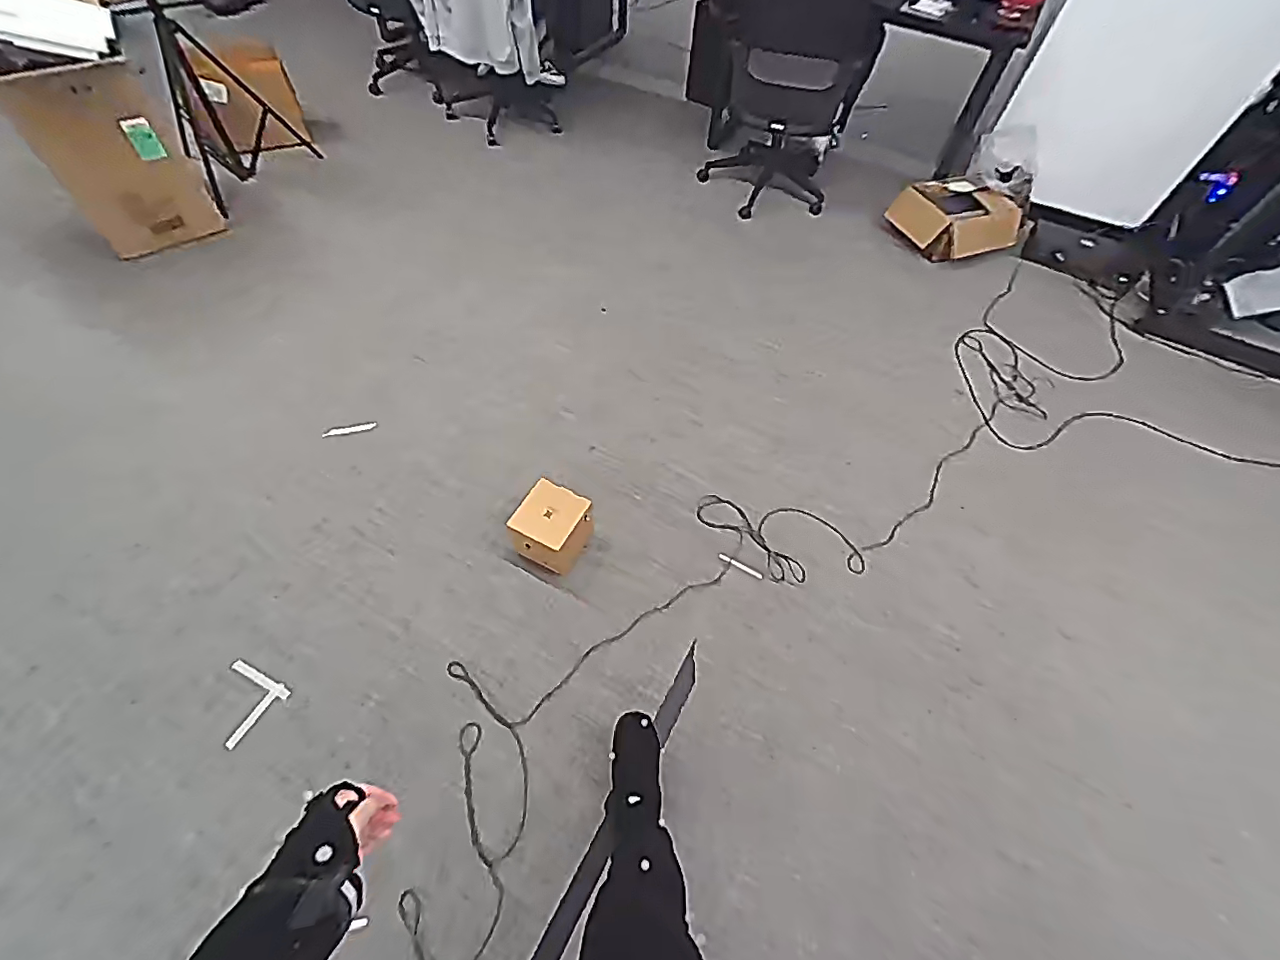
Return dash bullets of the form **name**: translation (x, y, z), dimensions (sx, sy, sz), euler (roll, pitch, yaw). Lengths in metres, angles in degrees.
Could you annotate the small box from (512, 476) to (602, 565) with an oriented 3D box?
- **small box**: translation (-0.228, 0.107, 1.497), dimensions (0.179, 0.176, 0.168), euler (9, 35, 24)
